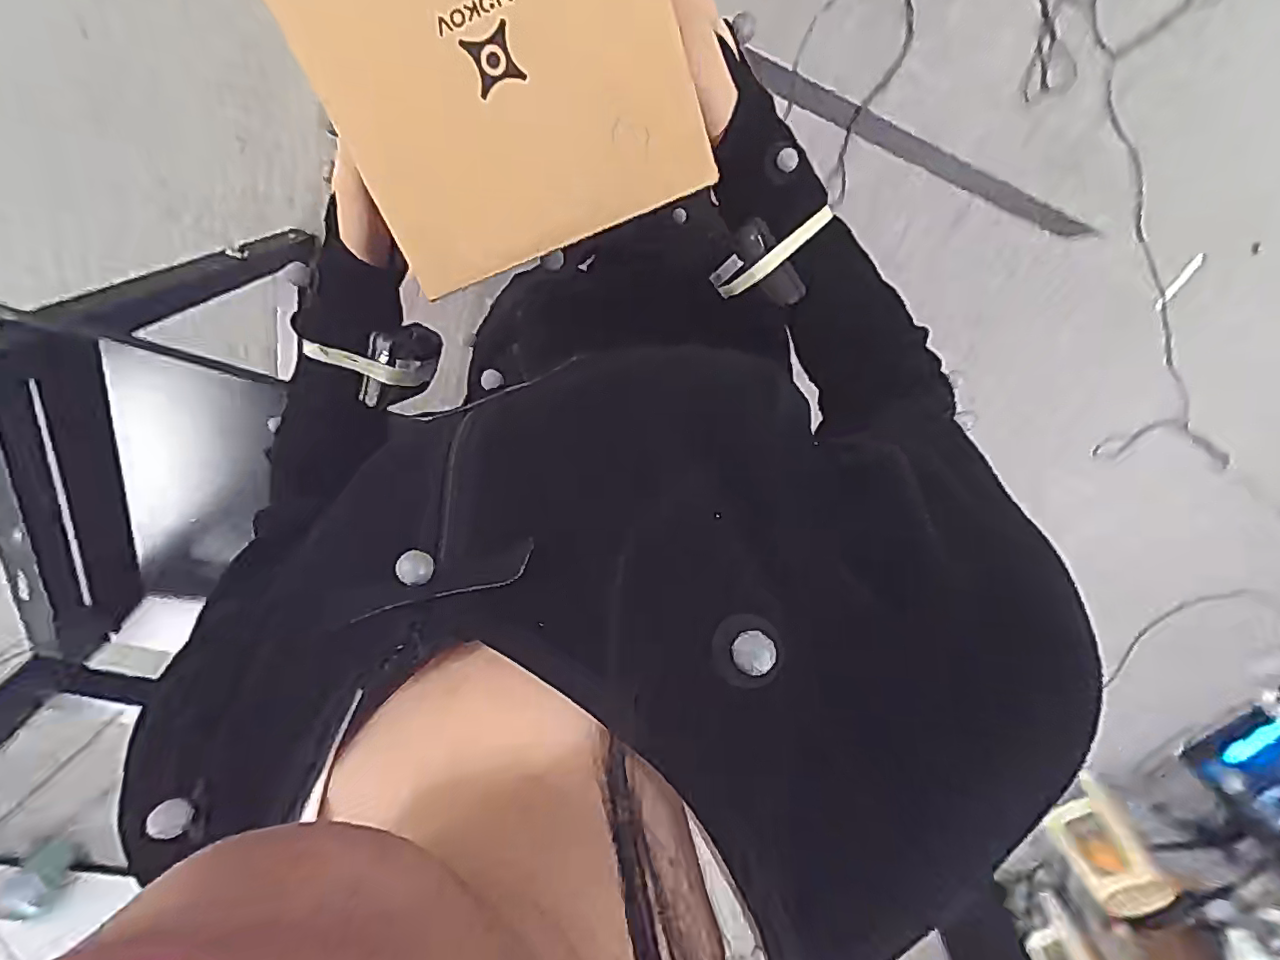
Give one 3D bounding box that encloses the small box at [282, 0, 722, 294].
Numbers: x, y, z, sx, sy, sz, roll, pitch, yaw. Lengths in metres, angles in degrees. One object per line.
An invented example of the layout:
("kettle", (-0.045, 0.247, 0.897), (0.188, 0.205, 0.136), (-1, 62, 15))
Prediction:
("small box", (-0.062, -0.231, 0.308), (0.168, 0.176, 0.179), (-18, 117, 8))
